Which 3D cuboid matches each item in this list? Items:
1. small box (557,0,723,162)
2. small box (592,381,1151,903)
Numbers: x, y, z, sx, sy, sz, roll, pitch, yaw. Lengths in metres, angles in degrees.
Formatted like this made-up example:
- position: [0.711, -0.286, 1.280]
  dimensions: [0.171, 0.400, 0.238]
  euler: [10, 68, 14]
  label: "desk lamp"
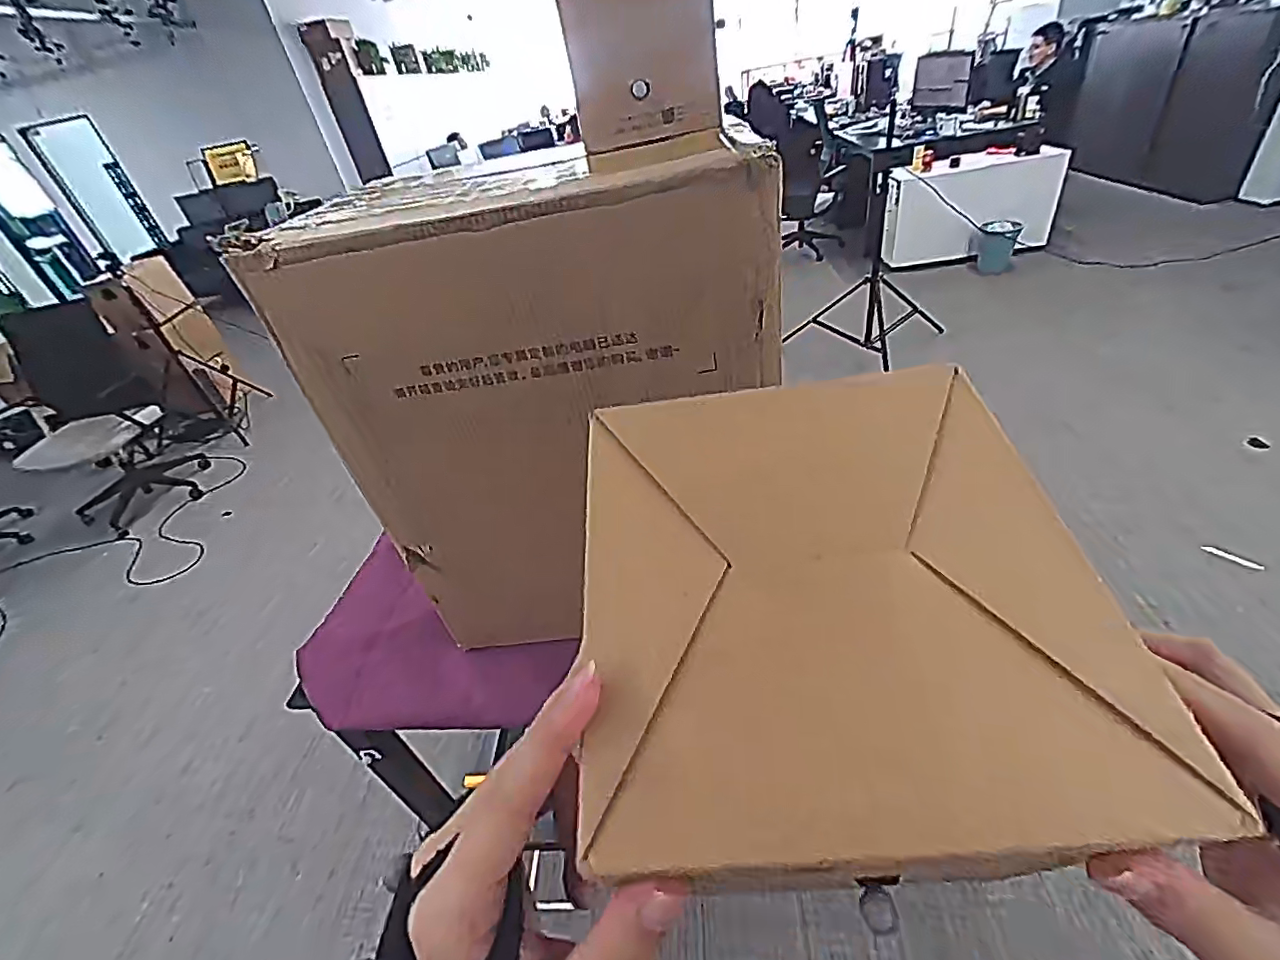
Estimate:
- position: [0.008, -0.500, 0.656]
  dimensions: [0.168, 0.176, 0.179]
  euler: [-6, 37, 9]
  label: "small box"
- position: [0.073, 0.081, 0.254]
  dimensions: [0.168, 0.176, 0.179]
  euler: [-6, 50, 4]
  label: "small box"
